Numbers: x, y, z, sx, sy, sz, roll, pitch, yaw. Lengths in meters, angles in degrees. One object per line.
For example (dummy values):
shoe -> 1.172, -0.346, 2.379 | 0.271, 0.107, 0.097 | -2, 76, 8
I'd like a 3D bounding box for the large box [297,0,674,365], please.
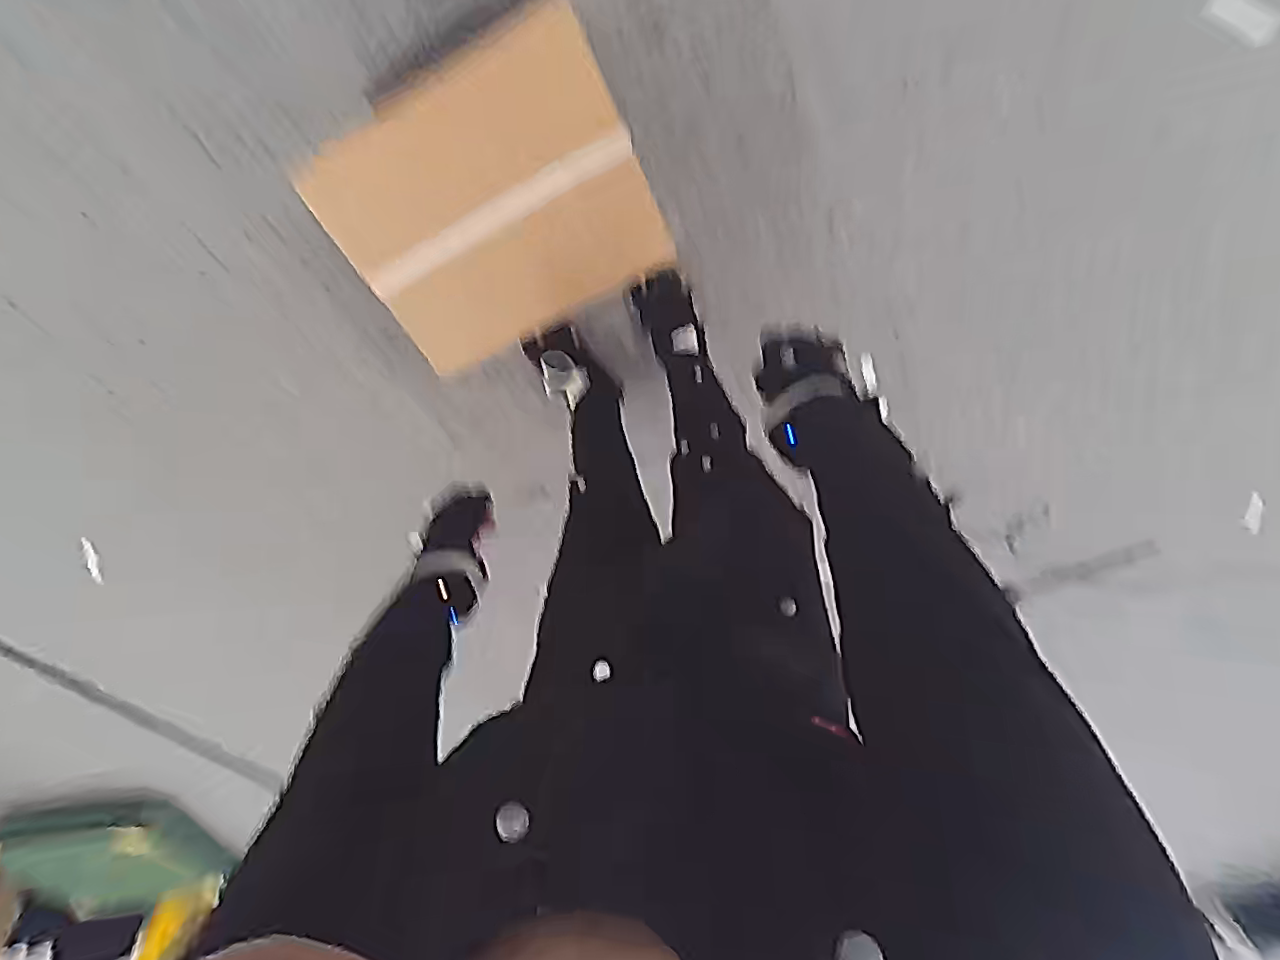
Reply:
large box -> -0.202, -0.448, 0.834 | 0.408, 0.320, 0.320 | -23, 126, 12
